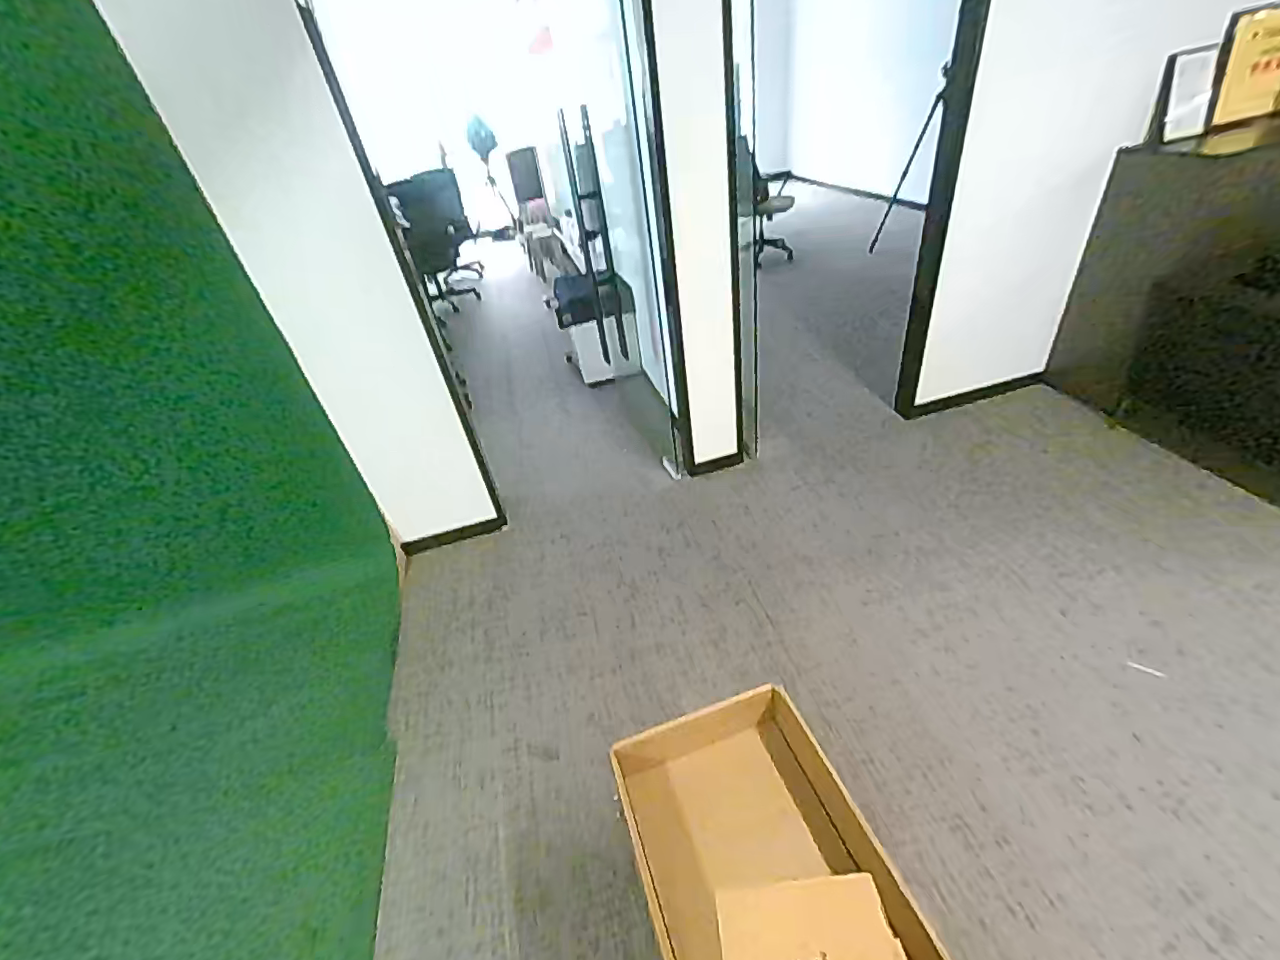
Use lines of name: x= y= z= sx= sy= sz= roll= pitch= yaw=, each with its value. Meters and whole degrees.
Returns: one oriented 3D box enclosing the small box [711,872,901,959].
small box: x=0.177 y=0.546 z=0.555 sx=0.179 sy=0.176 sz=0.168 roll=-8 pitch=28 yaw=2
